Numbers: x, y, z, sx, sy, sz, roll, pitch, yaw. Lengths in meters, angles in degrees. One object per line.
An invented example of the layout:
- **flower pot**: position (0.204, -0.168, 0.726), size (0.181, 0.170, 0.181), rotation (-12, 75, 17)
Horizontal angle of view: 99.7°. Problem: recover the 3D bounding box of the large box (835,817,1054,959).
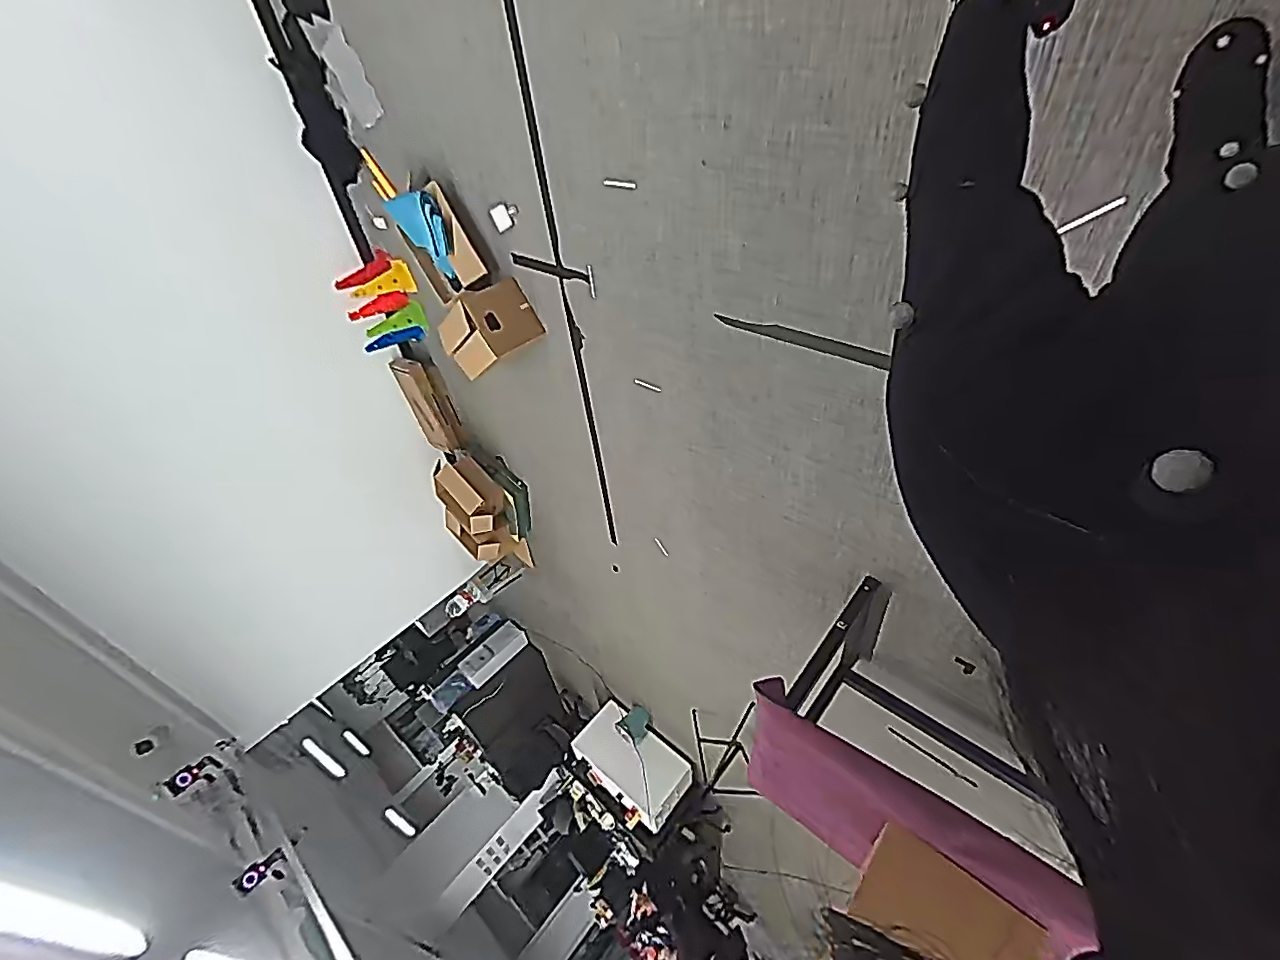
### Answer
- **large box**: position (0.807, 1.236, 1.471), size (0.408, 0.320, 0.320), rotation (27, 141, 35)
